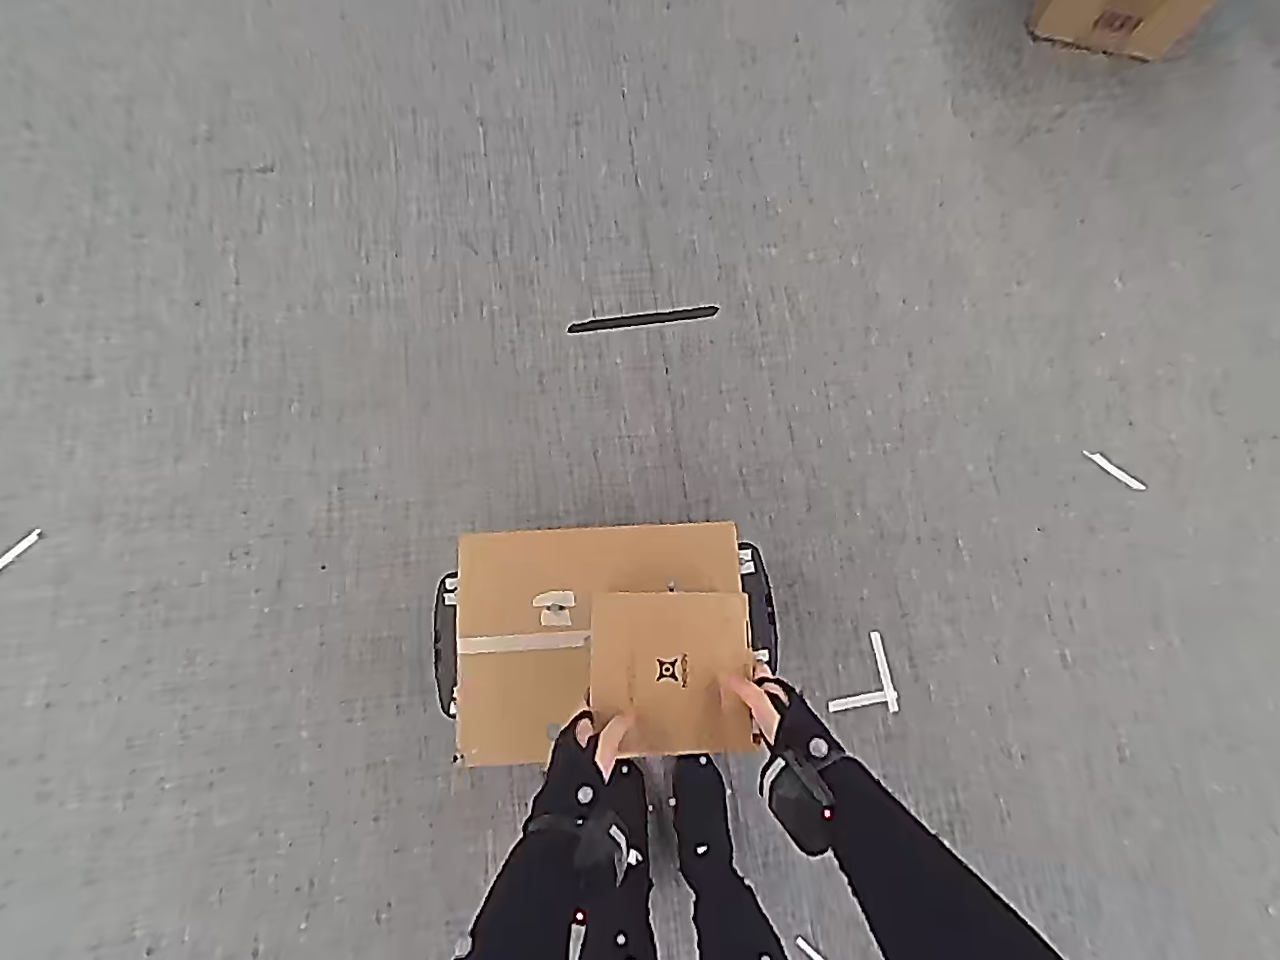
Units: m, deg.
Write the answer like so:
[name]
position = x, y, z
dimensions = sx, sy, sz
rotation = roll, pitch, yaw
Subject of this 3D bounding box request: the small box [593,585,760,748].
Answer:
[small box]
position = 0.037, 0.212, 0.652
dimensions = 0.179, 0.176, 0.168
rotation = 1, 78, -1

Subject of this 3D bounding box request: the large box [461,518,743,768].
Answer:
[large box]
position = -0.047, 0.249, 0.894
dimensions = 0.408, 0.320, 0.320
rotation = -3, 77, -1

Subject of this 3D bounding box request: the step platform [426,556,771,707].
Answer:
[step platform]
position = -0.079, 0.308, 1.124
dimensions = 0.684, 0.204, 0.286
rotation = -1, 77, -1
